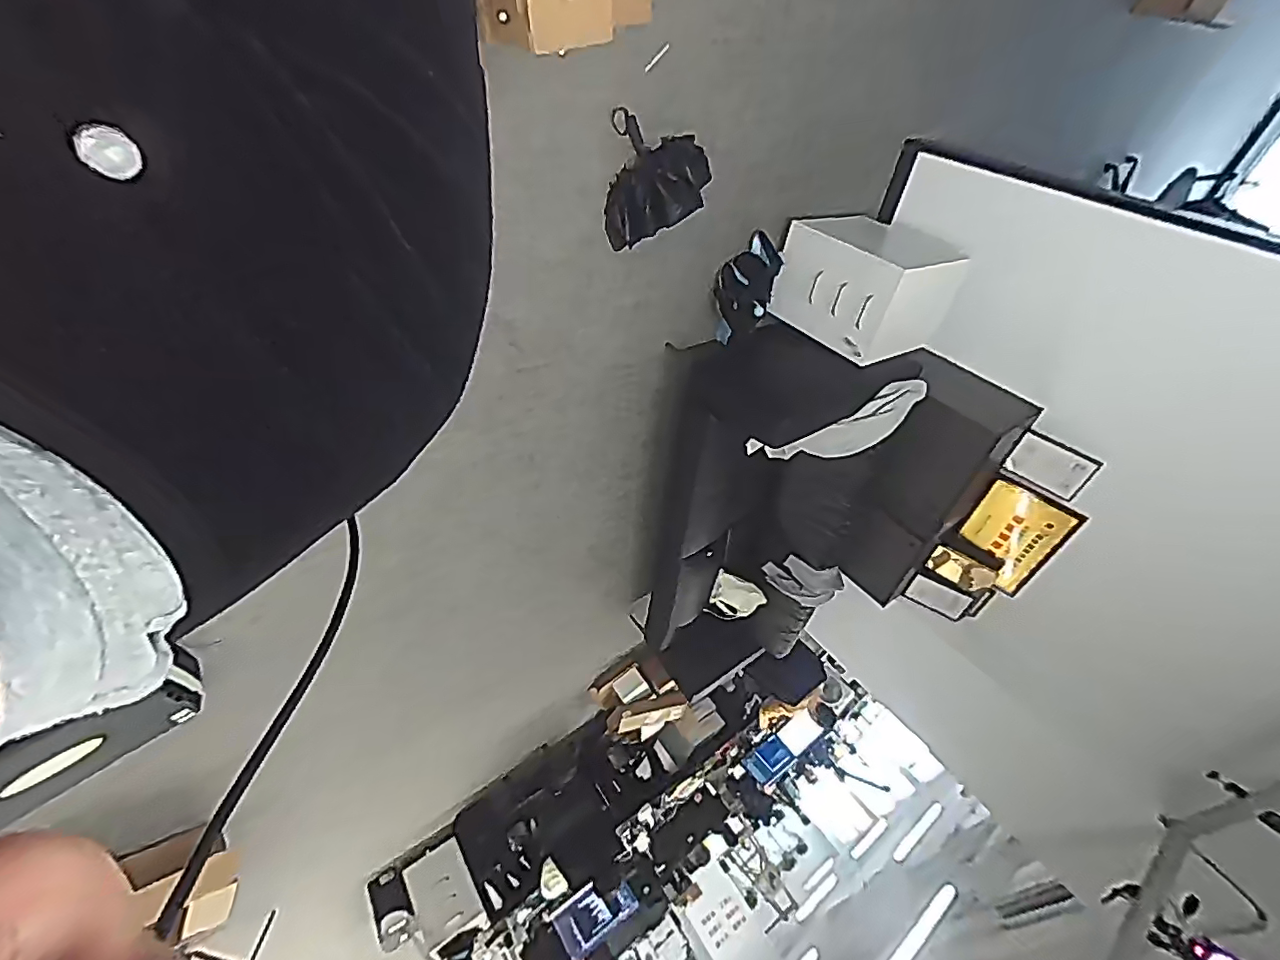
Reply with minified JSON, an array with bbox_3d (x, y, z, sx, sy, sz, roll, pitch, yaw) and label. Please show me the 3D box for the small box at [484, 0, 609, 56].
[{"bbox_3d":[-0.177,-0.889,0.969,0.179,0.176,0.168,-32,147,-22],"label":"small box"}]
